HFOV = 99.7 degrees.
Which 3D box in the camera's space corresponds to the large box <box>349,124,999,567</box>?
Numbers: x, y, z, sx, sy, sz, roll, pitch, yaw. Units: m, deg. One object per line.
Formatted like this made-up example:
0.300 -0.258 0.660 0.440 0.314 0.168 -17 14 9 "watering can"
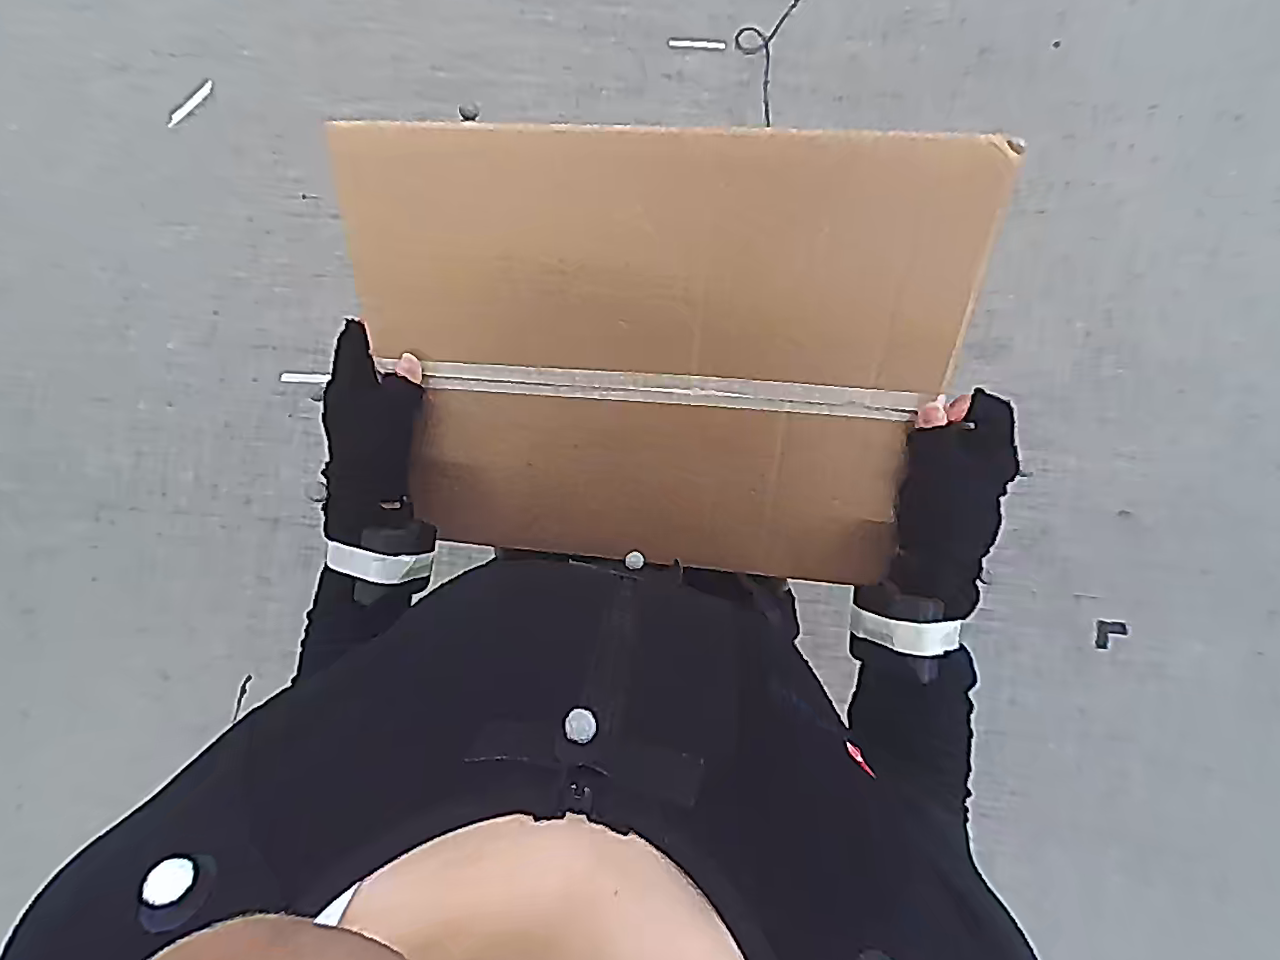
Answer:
0.023 -0.146 0.526 0.408 0.320 0.320 5 121 6 "large box"
